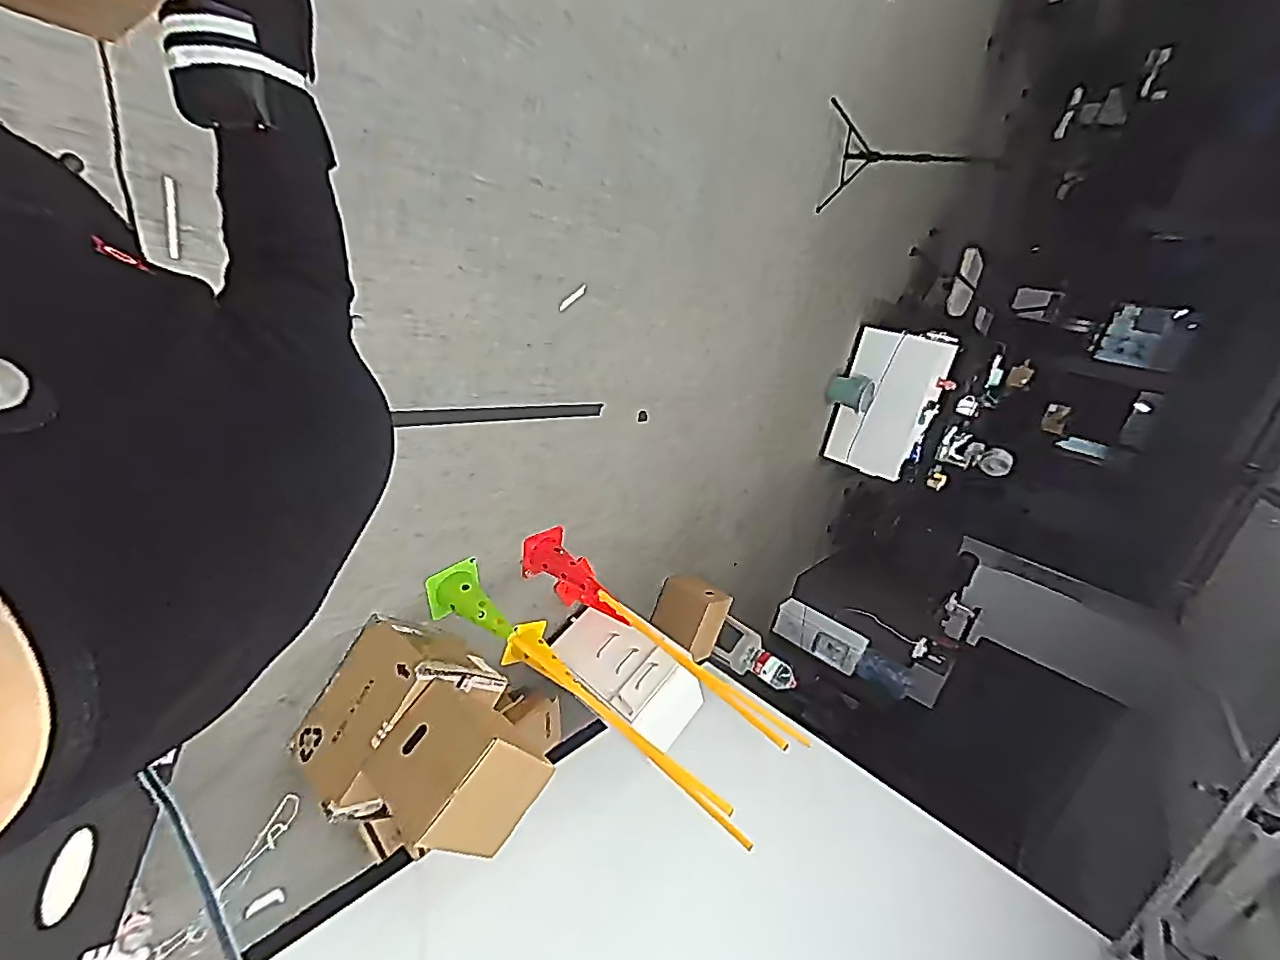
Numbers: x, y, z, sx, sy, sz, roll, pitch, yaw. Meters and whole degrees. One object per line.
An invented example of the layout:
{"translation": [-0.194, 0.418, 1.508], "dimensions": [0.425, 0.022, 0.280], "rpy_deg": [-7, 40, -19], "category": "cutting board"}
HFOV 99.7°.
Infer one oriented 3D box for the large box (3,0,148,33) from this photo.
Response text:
{"translation": [-0.483, -0.477, 0.222], "dimensions": [0.408, 0.320, 0.320], "rpy_deg": [-15, 119, -50], "category": "large box"}
